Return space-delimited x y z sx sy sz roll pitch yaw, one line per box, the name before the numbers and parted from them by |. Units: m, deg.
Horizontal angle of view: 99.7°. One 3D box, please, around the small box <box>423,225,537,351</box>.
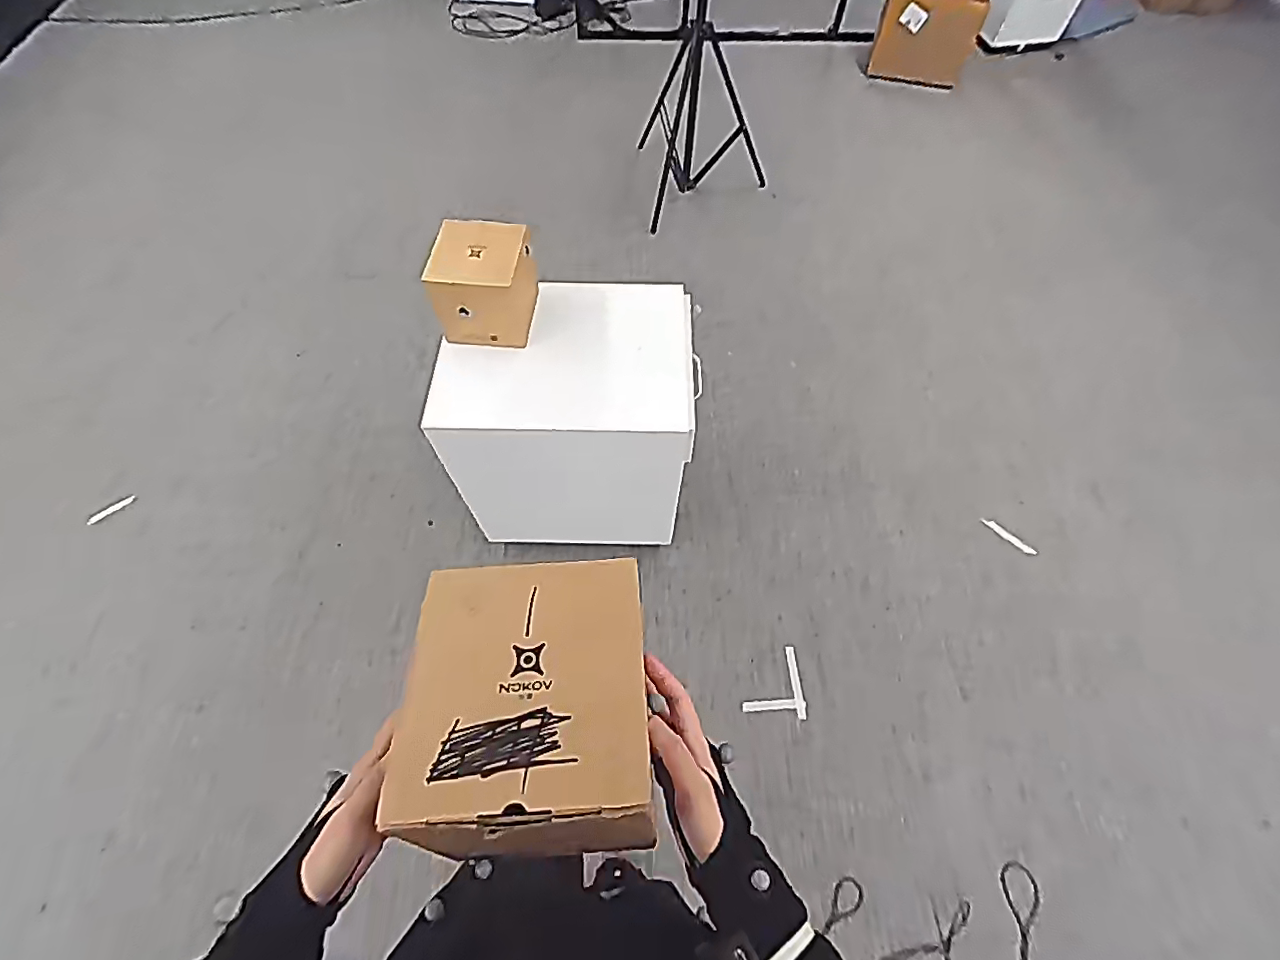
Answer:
small box | -0.308 -0.379 1.082 0.168 0.176 0.179 4 61 1
